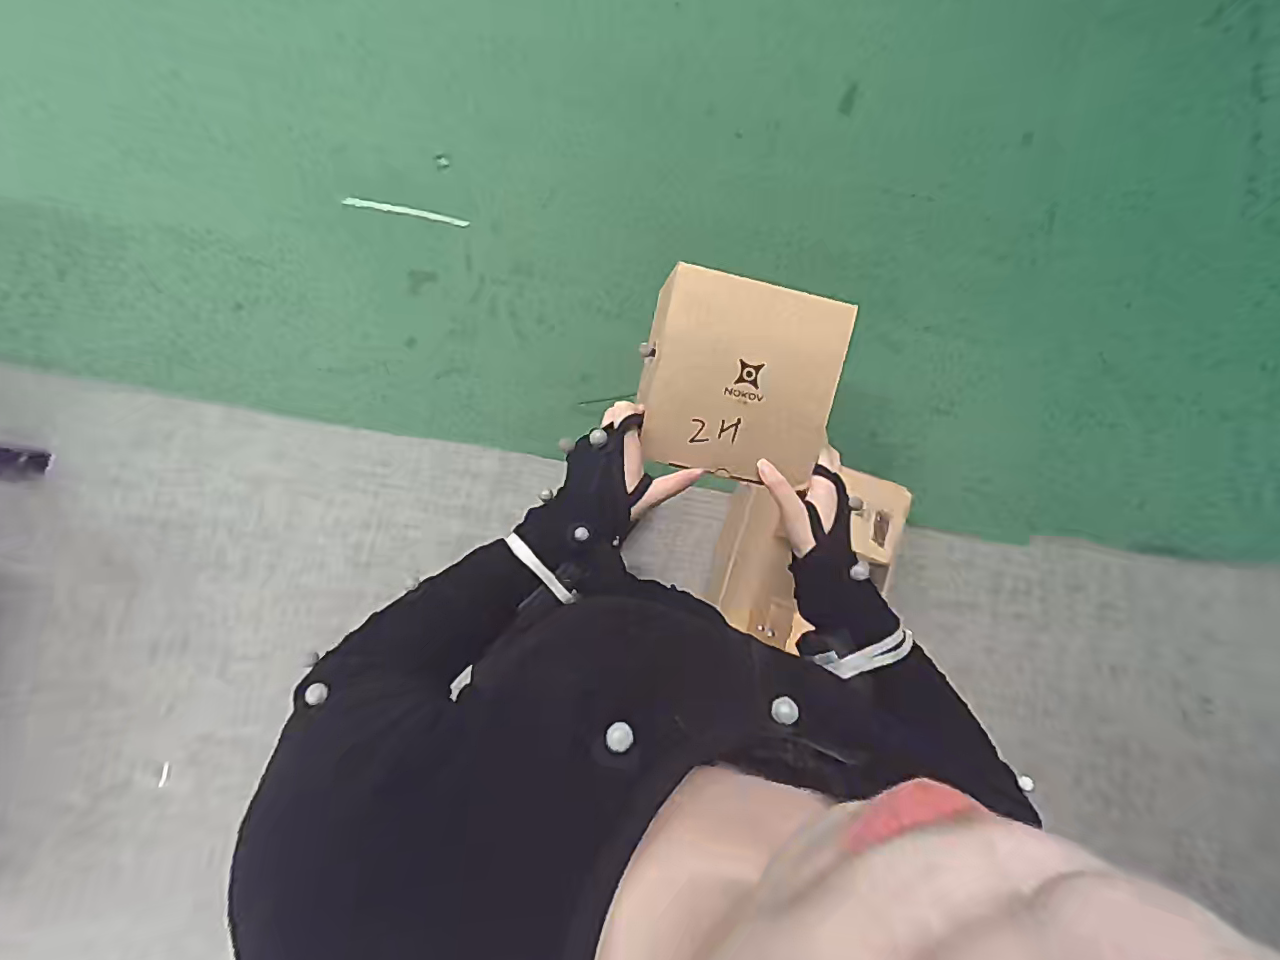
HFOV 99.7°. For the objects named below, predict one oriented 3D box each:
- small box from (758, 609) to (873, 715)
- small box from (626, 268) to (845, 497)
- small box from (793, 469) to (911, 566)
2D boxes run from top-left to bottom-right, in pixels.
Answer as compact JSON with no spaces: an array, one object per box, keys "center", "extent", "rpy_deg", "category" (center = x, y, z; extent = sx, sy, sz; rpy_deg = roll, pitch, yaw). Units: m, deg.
[{"center":[0.385,0.396,1.209],"extent":[0.179,0.176,0.168],"rpy_deg":[17,83,0],"category":"small box"},{"center":[0.081,-0.096,0.560],"extent":[0.168,0.176,0.179],"rpy_deg":[11,99,-5],"category":"small box"},{"center":[0.480,0.087,1.248],"extent":[0.179,0.176,0.168],"rpy_deg":[21,84,1],"category":"small box"}]
